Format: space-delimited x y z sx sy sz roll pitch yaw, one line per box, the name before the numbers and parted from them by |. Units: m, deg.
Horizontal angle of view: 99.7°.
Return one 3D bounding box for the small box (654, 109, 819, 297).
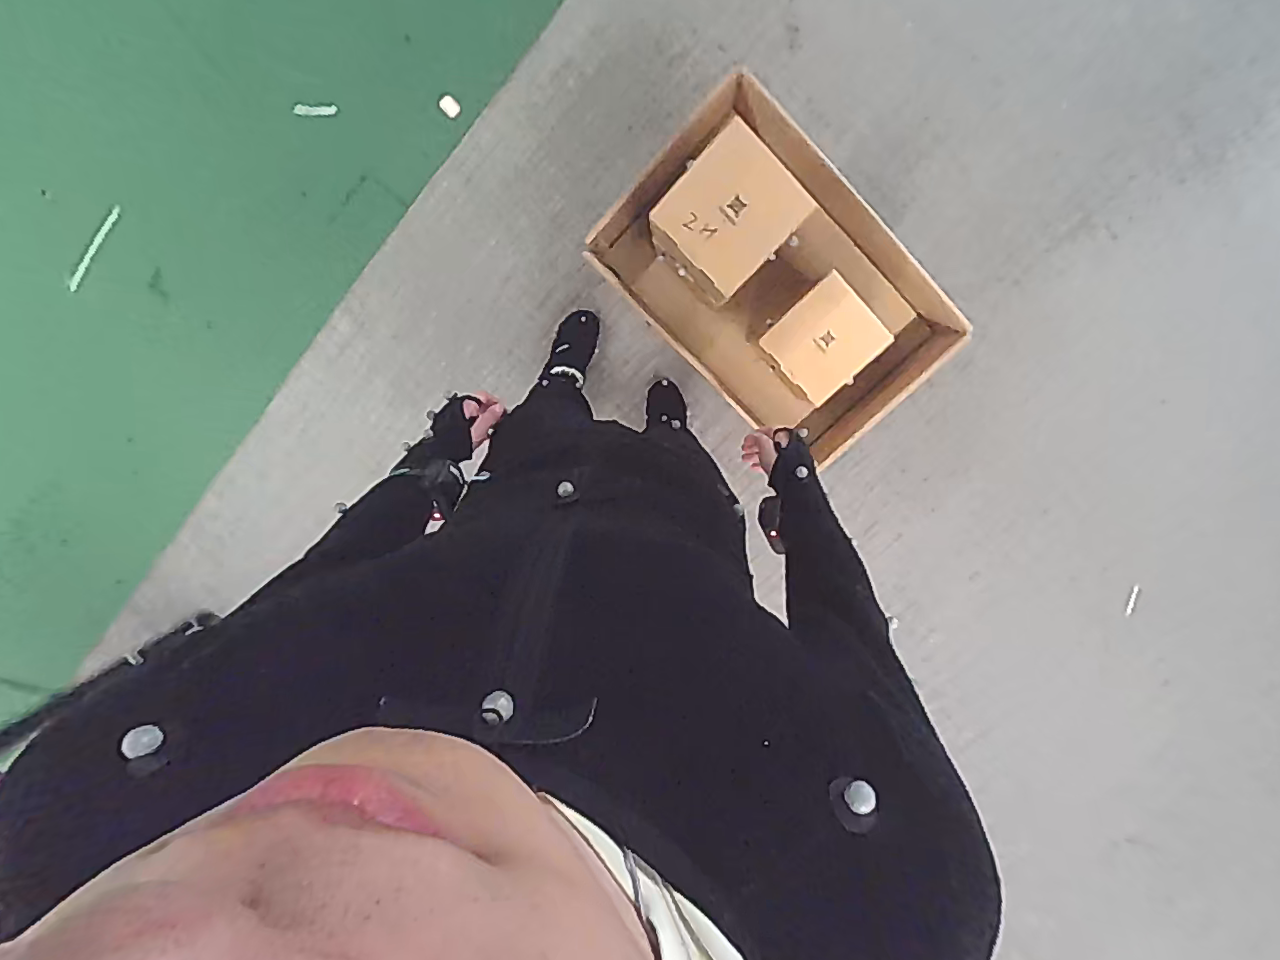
small box | 0.136 -0.406 0.829 0.168 0.176 0.179 45 103 -8
